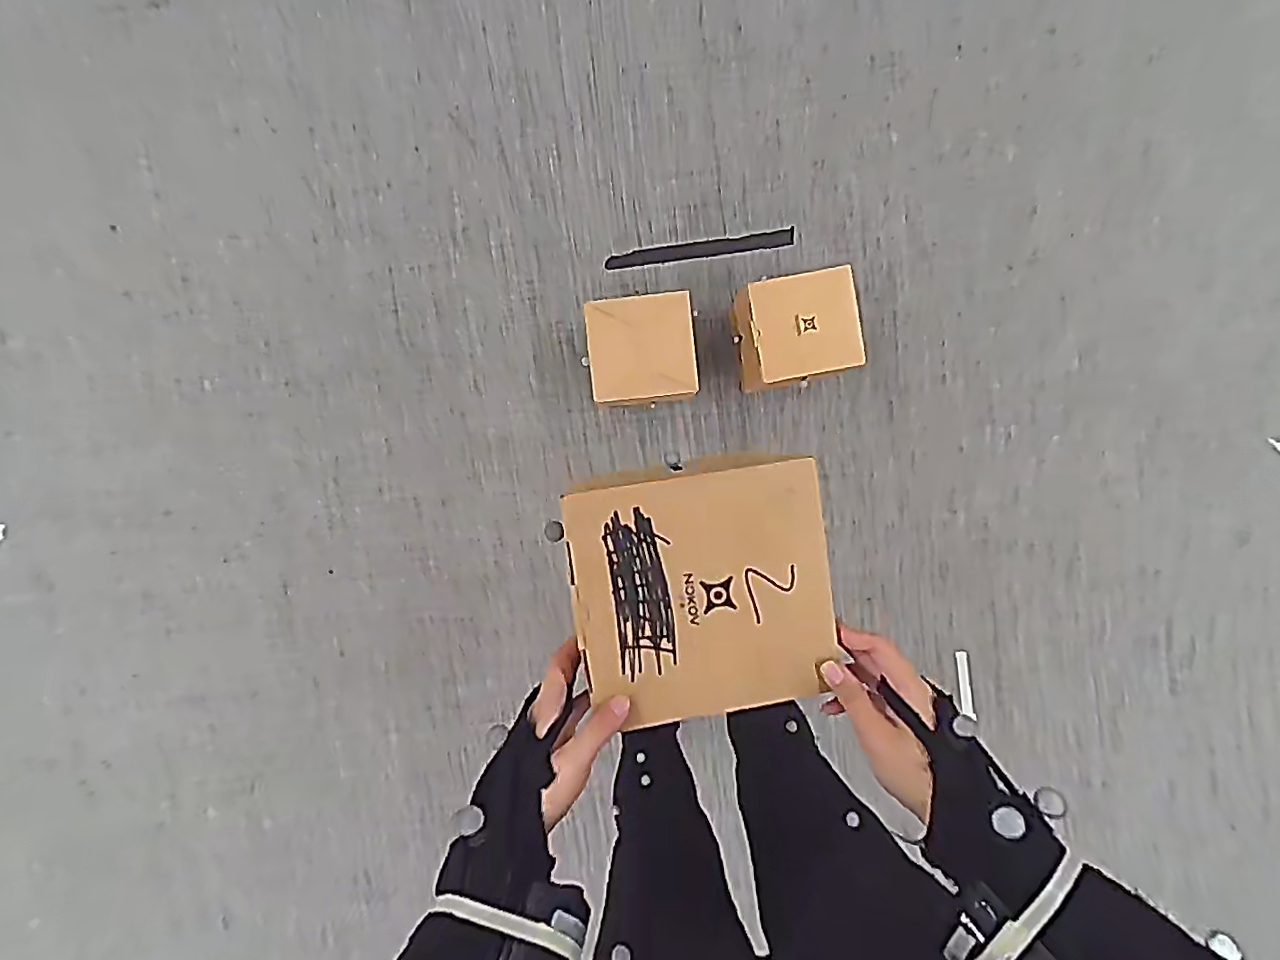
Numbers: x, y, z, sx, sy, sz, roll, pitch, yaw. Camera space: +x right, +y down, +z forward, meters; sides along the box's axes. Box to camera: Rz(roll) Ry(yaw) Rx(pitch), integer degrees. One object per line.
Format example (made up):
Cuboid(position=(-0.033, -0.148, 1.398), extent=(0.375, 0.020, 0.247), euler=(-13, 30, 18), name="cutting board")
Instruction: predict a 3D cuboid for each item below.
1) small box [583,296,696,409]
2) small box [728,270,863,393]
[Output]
Cuboid(position=(0.001, -0.220, 0.964), extent=(0.179, 0.176, 0.168), euler=(-6, 94, 0), name="small box")
Cuboid(position=(0.269, -0.256, 0.967), extent=(0.179, 0.176, 0.168), euler=(-11, 94, 0), name="small box")
